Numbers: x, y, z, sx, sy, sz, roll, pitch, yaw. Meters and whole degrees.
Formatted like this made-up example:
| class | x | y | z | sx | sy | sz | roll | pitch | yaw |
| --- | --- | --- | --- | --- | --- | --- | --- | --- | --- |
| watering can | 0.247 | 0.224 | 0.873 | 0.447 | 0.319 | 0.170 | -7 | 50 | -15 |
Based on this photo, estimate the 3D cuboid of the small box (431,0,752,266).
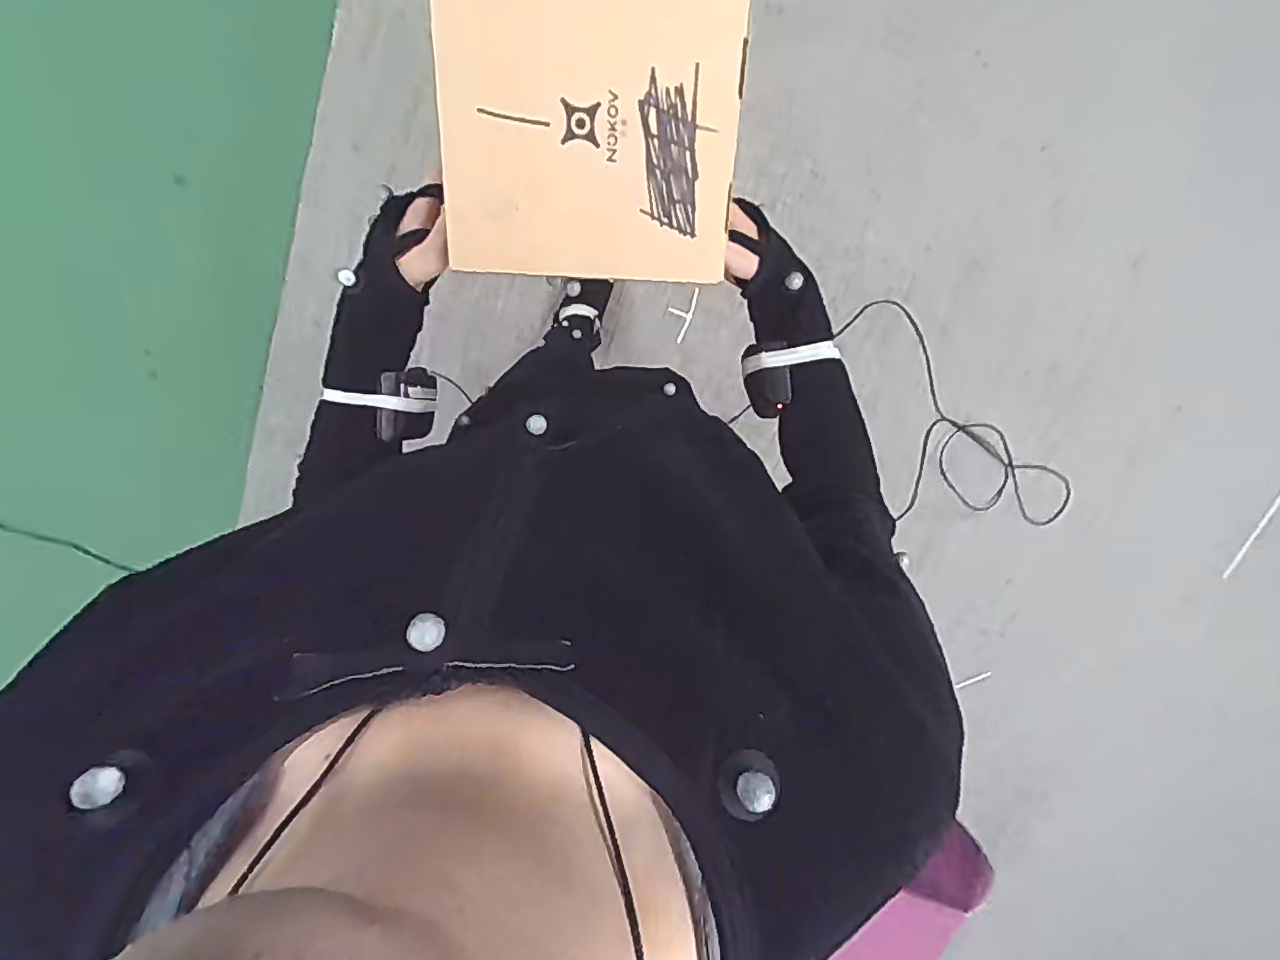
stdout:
| class | x | y | z | sx | sy | sz | roll | pitch | yaw |
| --- | --- | --- | --- | --- | --- | --- | --- | --- | --- |
| small box | -0.040 | -0.247 | 0.383 | 0.179 | 0.176 | 0.168 | 0 | 112 | -10 |
